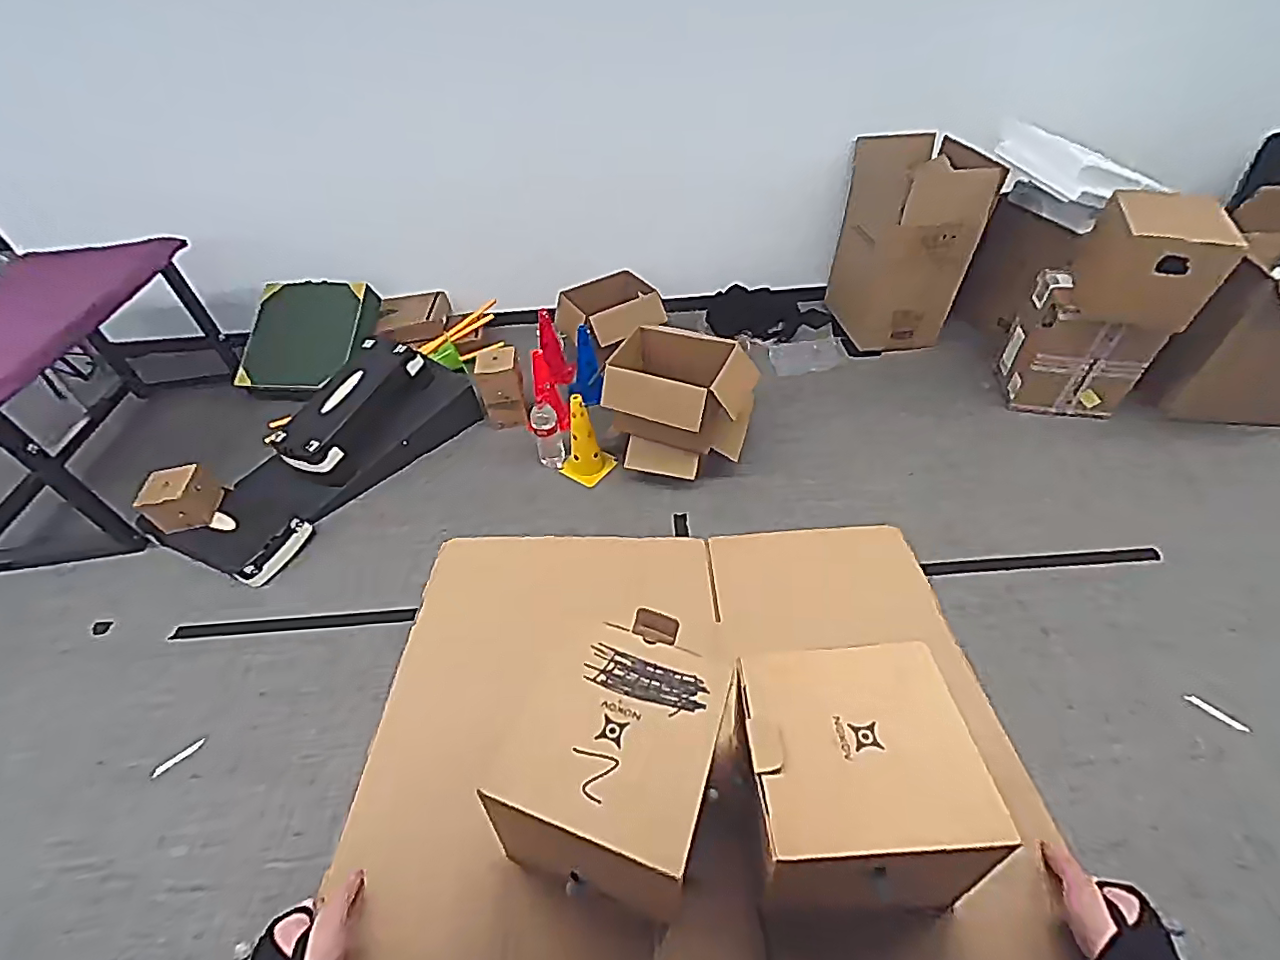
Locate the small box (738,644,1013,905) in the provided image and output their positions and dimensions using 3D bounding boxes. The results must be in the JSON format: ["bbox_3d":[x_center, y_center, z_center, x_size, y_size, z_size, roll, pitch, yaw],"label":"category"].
[{"bbox_3d":[0.192,0.276,0.507,0.179,0.176,0.168,-6,41,2],"label":"small box"}]
